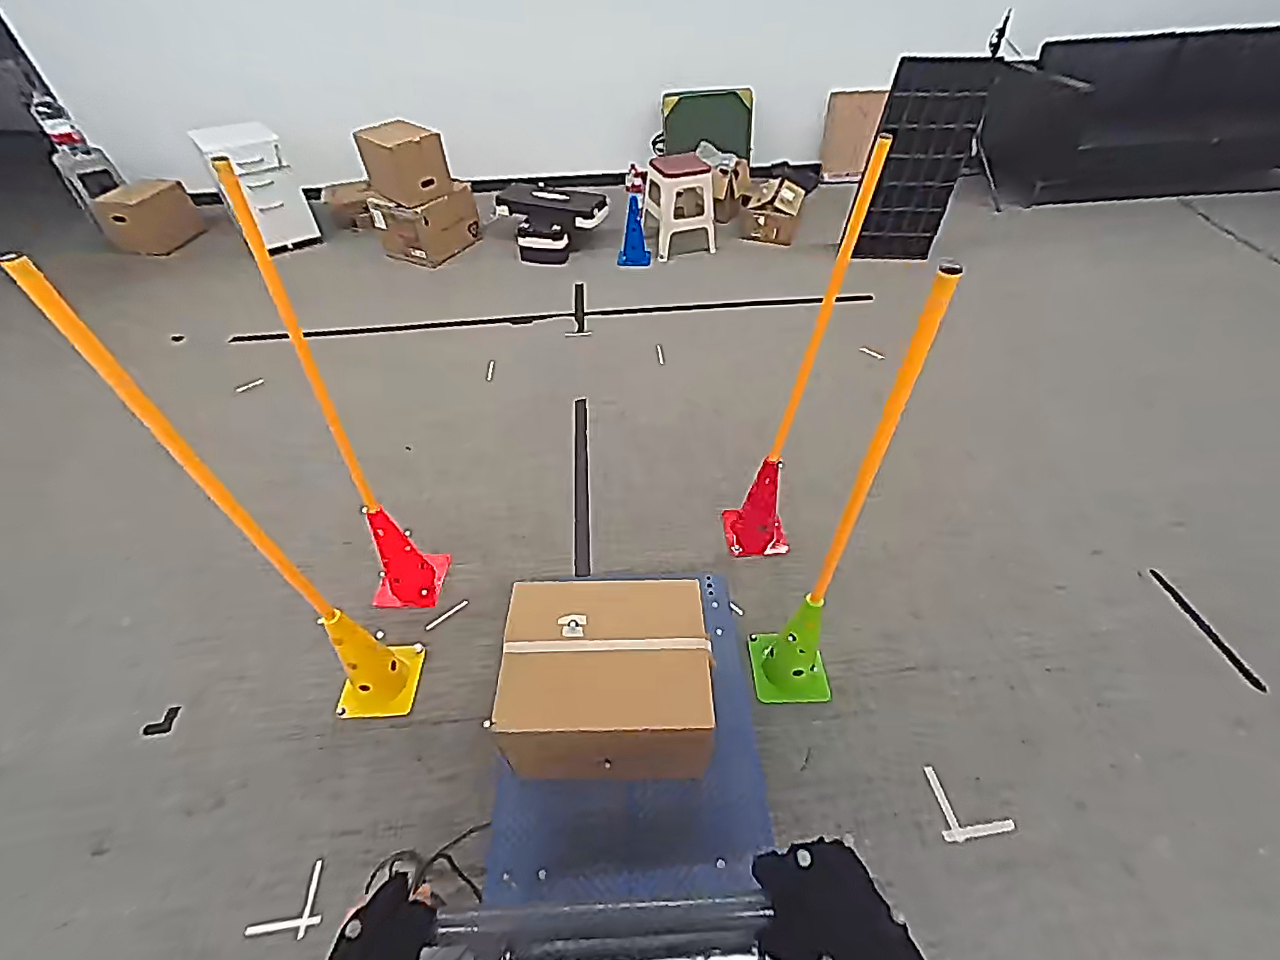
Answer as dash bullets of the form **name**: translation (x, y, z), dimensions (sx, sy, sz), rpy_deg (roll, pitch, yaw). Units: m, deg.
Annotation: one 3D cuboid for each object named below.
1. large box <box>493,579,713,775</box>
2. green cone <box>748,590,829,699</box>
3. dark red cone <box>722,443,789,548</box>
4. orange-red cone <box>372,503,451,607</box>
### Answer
- **large box**: translation (-0.066, 0.435, 1.182), dimensions (0.408, 0.320, 0.320), rpy_deg (-1, 46, 0)
- **green cone**: translation (0.417, 0.402, 1.403), dimensions (0.202, 0.368, 0.200), rpy_deg (-1, 46, -1)
- **dark red cone**: translation (0.394, 0.038, 1.724), dimensions (0.201, 0.394, 0.202), rpy_deg (-3, 47, -4)
- **orange-red cone**: translation (-0.724, 0.198, 1.618), dimensions (0.198, 0.360, 0.199), rpy_deg (2, 45, 1)
